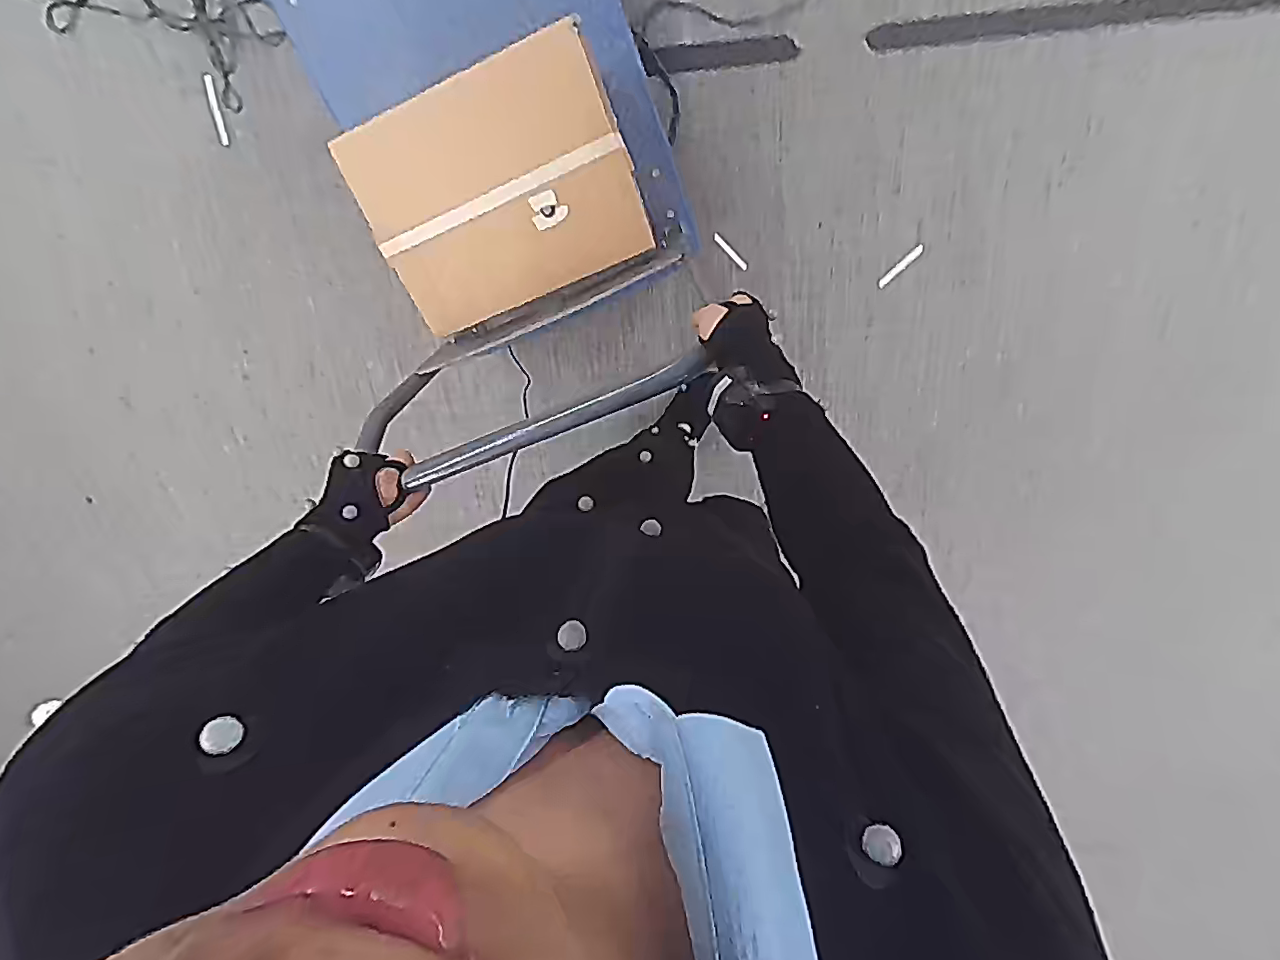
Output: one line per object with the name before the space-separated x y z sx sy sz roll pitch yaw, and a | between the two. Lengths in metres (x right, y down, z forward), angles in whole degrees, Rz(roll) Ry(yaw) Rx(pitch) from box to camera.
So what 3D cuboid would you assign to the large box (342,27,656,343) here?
large box | -0.213 -0.490 0.970 0.408 0.320 0.320 -20 114 9
